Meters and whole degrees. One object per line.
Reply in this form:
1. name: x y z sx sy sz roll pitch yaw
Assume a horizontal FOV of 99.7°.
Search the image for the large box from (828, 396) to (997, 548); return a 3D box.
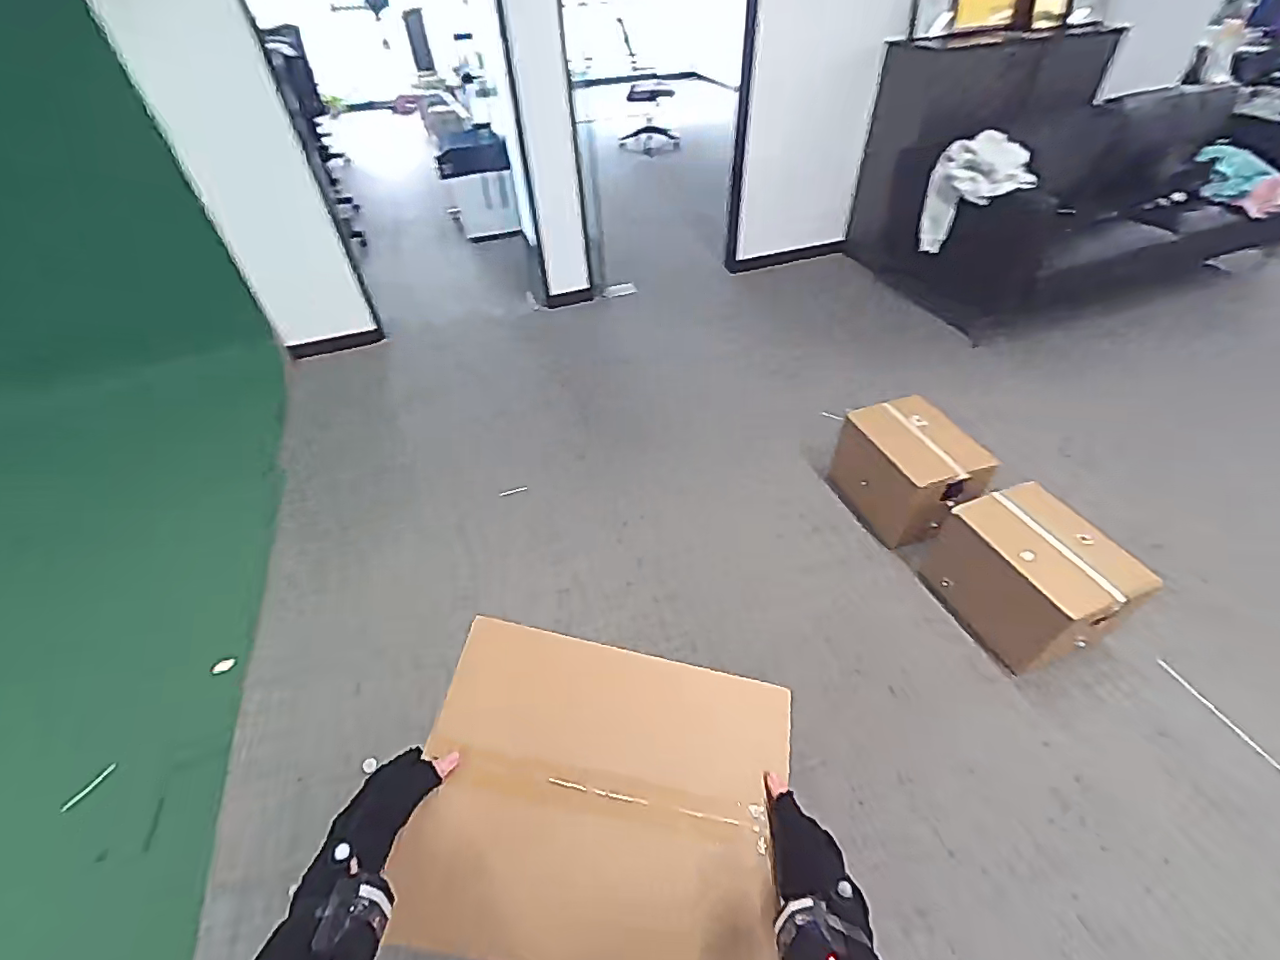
1. large box: 0.930 -0.035 1.908 0.320 0.320 0.408 -14 44 -12
